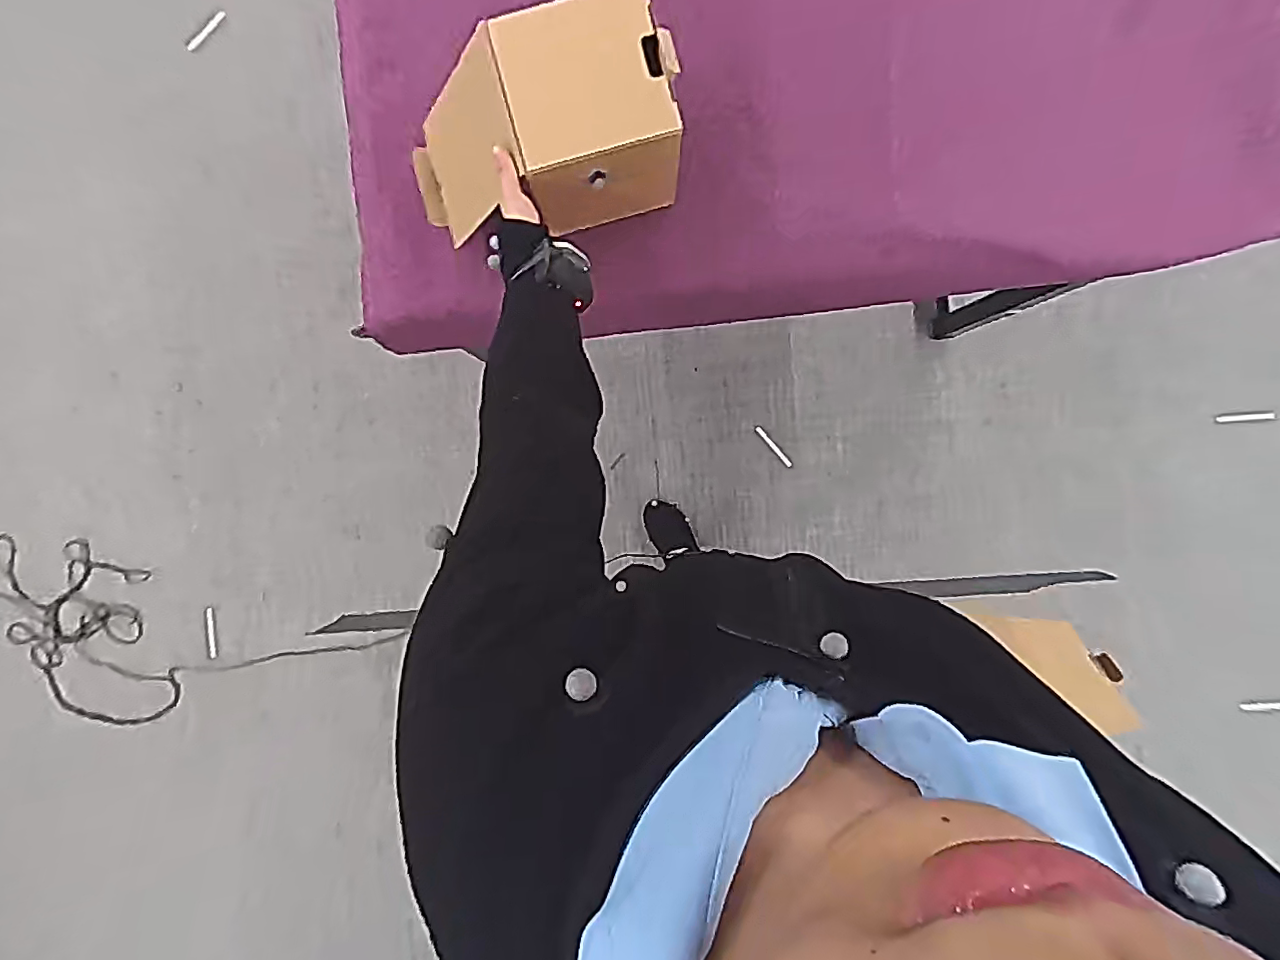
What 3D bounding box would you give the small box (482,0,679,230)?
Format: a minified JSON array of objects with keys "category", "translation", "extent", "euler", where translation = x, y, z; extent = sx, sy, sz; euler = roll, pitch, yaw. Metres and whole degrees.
[{"category":"small box","translation":[-0.060,-0.422,0.637],"extent":[0.179,0.176,0.168],"euler":[-15,92,0]}]
